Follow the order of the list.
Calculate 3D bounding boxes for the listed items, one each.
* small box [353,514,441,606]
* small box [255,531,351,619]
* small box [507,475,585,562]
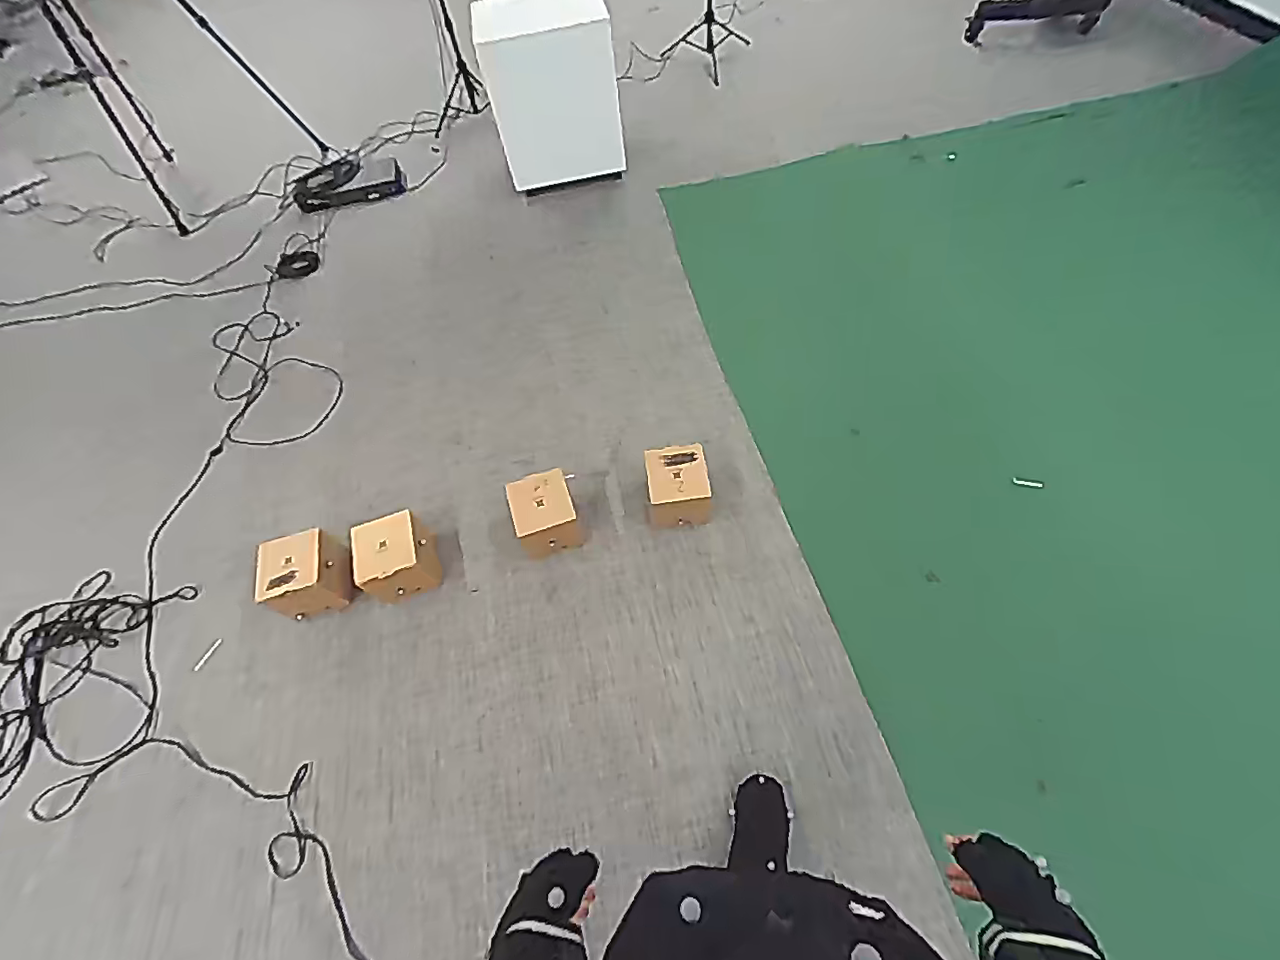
[{"bbox_3d":[-0.673,0.226,1.505,0.168,0.176,0.179,-19,60,-6],"label":"small box"},{"bbox_3d":[-0.925,0.271,1.500,0.168,0.176,0.179,-16,58,-4],"label":"small box"},{"bbox_3d":[-0.262,0.117,1.533,0.168,0.176,0.179,-17,59,-7],"label":"small box"}]
